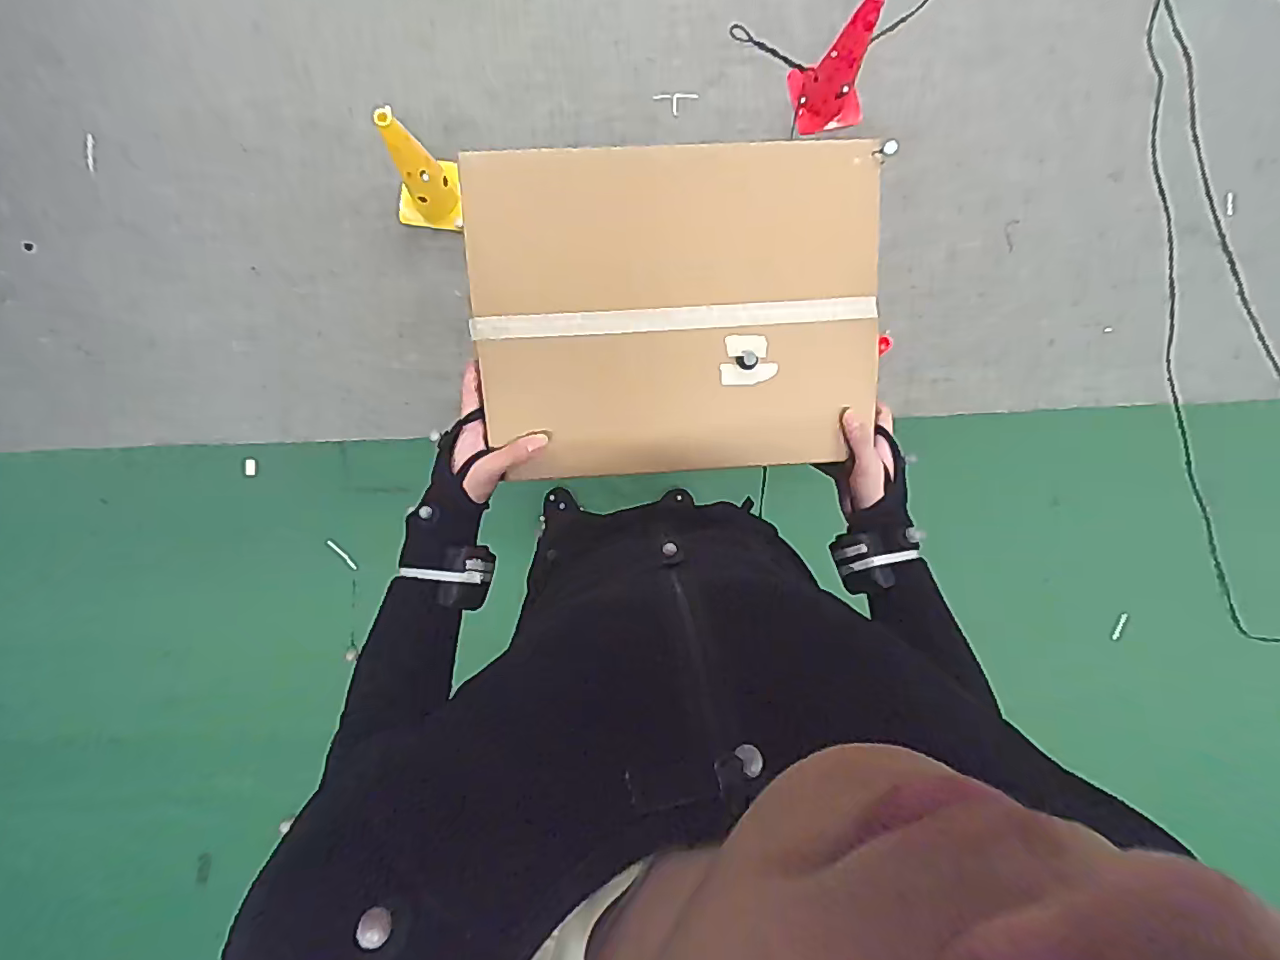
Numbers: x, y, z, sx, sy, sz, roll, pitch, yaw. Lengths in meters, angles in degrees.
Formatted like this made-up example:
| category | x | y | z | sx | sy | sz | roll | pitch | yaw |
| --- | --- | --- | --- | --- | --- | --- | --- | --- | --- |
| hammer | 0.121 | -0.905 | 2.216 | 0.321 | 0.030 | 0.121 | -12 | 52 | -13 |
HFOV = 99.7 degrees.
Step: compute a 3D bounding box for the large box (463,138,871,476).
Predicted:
| category | x | y | z | sx | sy | sz | roll | pitch | yaw |
| --- | --- | --- | --- | --- | --- | --- | --- | --- | --- |
| large box | 0.027 | -0.198 | 0.694 | 0.408 | 0.320 | 0.320 | -4 | 102 | -3 |
